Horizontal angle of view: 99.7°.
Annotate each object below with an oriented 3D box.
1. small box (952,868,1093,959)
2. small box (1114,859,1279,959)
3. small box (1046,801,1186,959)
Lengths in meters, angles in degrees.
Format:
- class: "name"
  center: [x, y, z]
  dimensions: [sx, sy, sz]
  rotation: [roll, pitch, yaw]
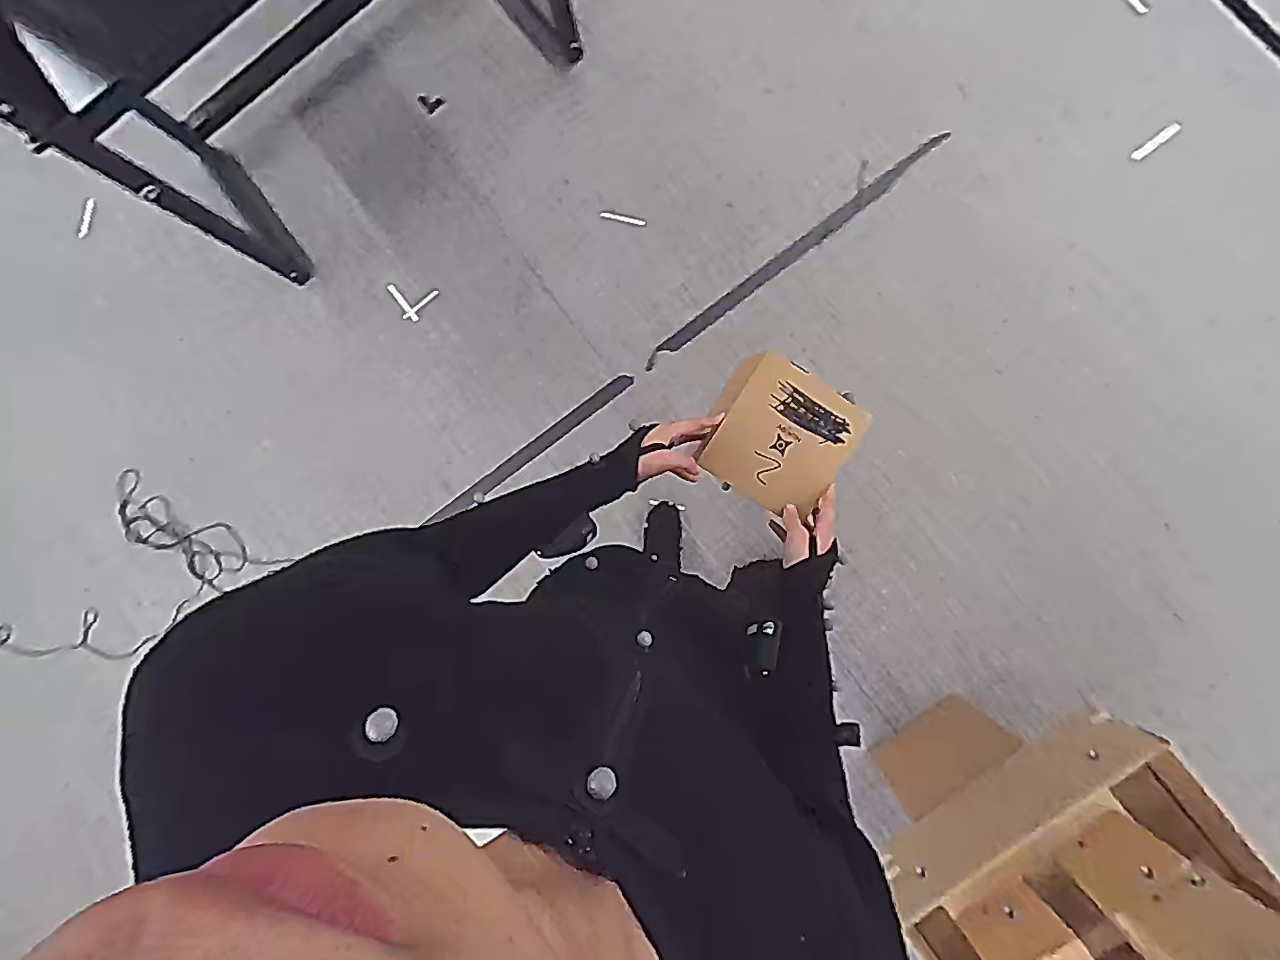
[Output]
- class: "small box"
  center: [0.768, 0.928, 1.064]
  dimensions: [0.168, 0.176, 0.179]
  rotation: [-36, 85, 1]
- class: "small box"
  center: [0.954, 0.774, 0.890]
  dimensions: [0.168, 0.176, 0.179]
  rotation: [-33, 86, 3]
- class: "small box"
  center: [0.963, 0.781, 1.055]
  dimensions: [0.168, 0.176, 0.179]
  rotation: [-40, 86, 2]
